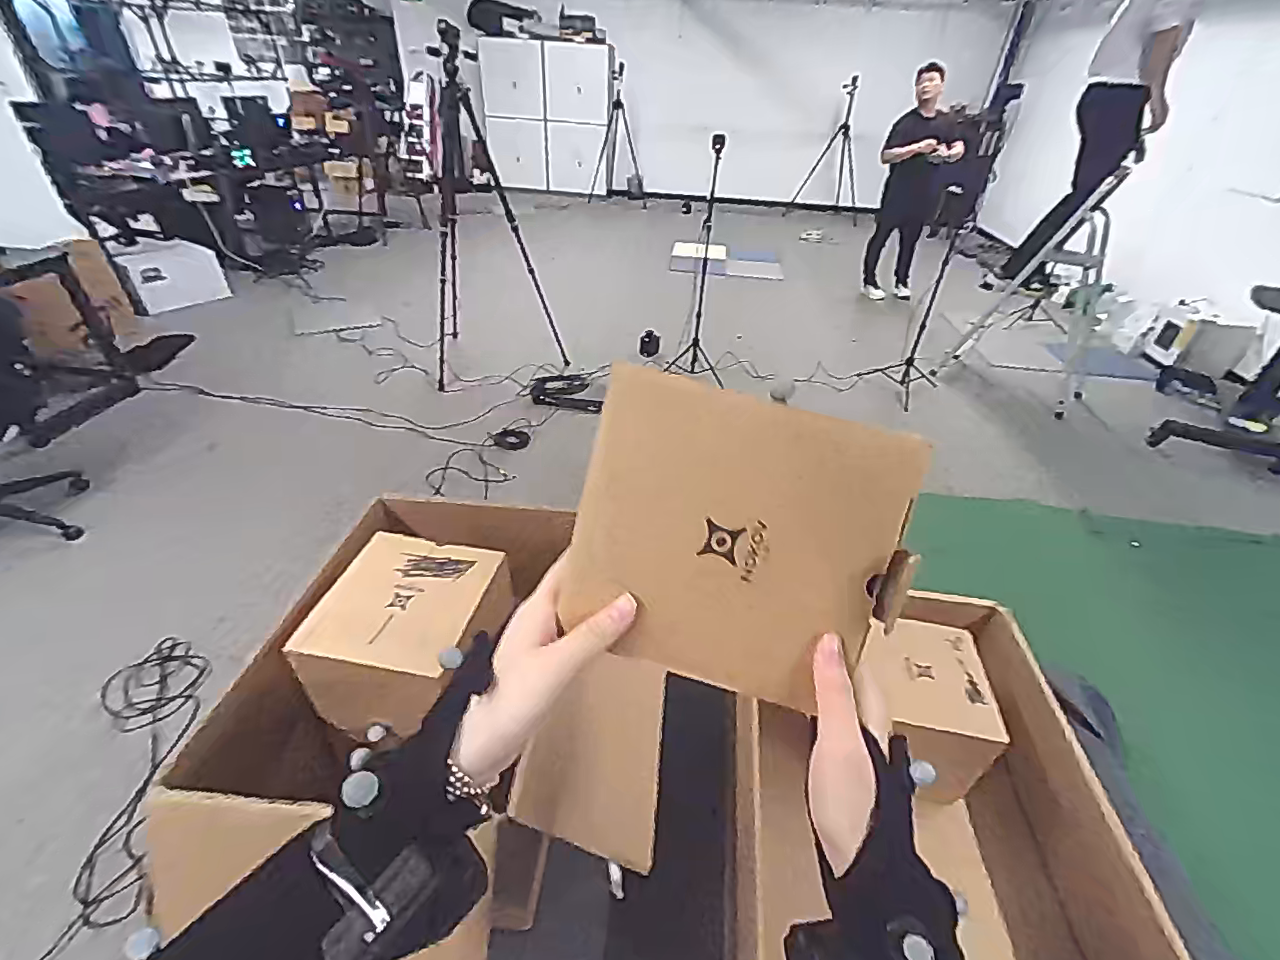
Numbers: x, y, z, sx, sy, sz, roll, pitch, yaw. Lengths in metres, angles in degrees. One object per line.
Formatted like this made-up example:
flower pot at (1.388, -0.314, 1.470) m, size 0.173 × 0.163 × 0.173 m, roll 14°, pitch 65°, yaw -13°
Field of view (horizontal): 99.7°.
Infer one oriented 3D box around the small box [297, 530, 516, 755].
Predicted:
small box at (-0.254, 0.190, 0.643) m, size 0.168 × 0.176 × 0.179 m, roll 8°, pitch 39°, yaw 6°

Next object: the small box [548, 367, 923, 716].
small box at (0.056, 0.026, 0.383) m, size 0.179 × 0.168 × 0.176 m, roll 15°, pitch 11°, yaw 4°
